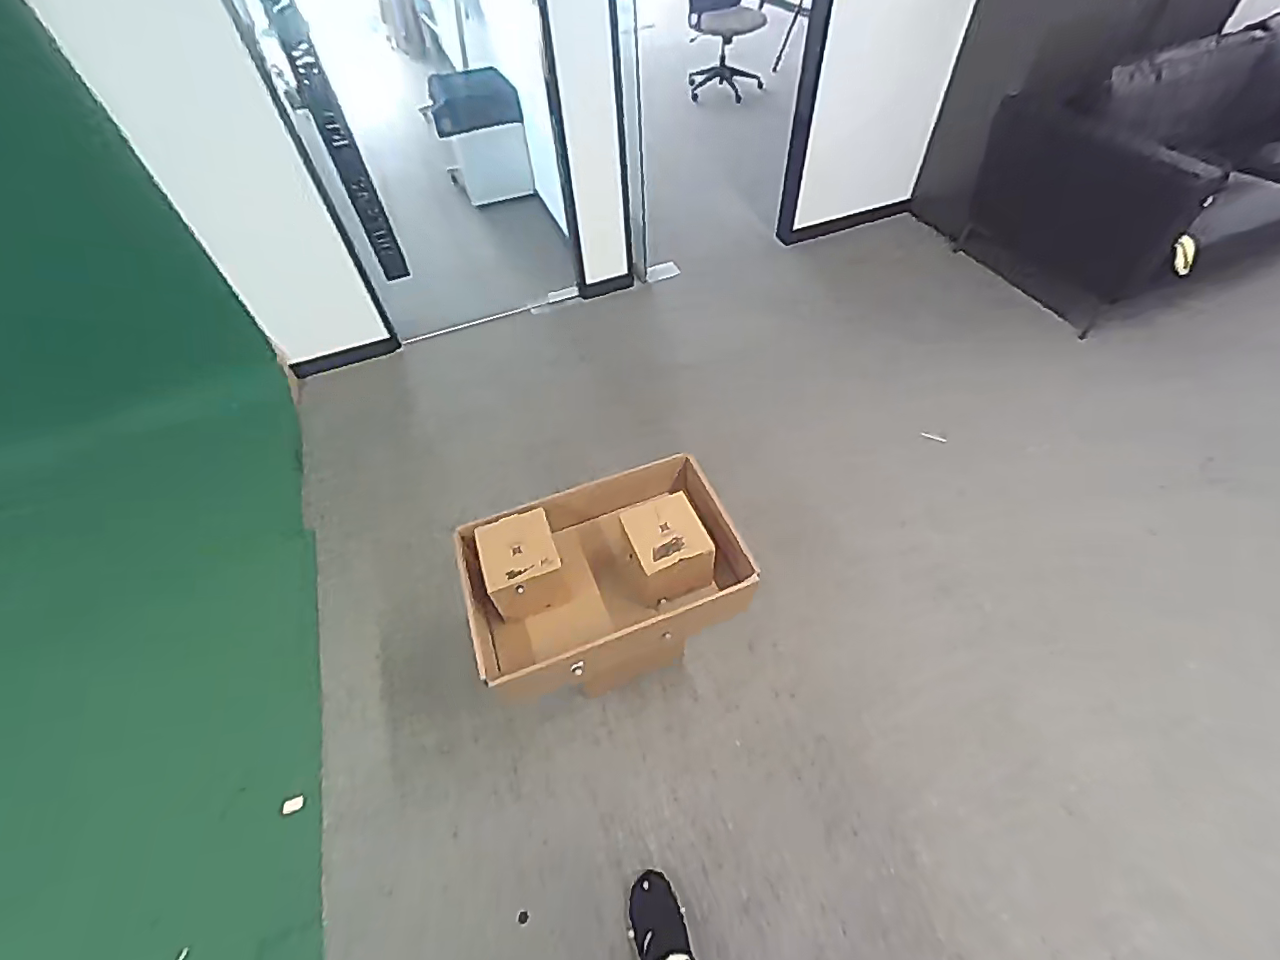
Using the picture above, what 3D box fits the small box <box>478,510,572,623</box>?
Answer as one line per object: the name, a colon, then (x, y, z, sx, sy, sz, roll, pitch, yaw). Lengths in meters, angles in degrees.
small box: (-0.265, 0.203, 1.261, 0.168, 0.176, 0.179, -17, 52, -10)
